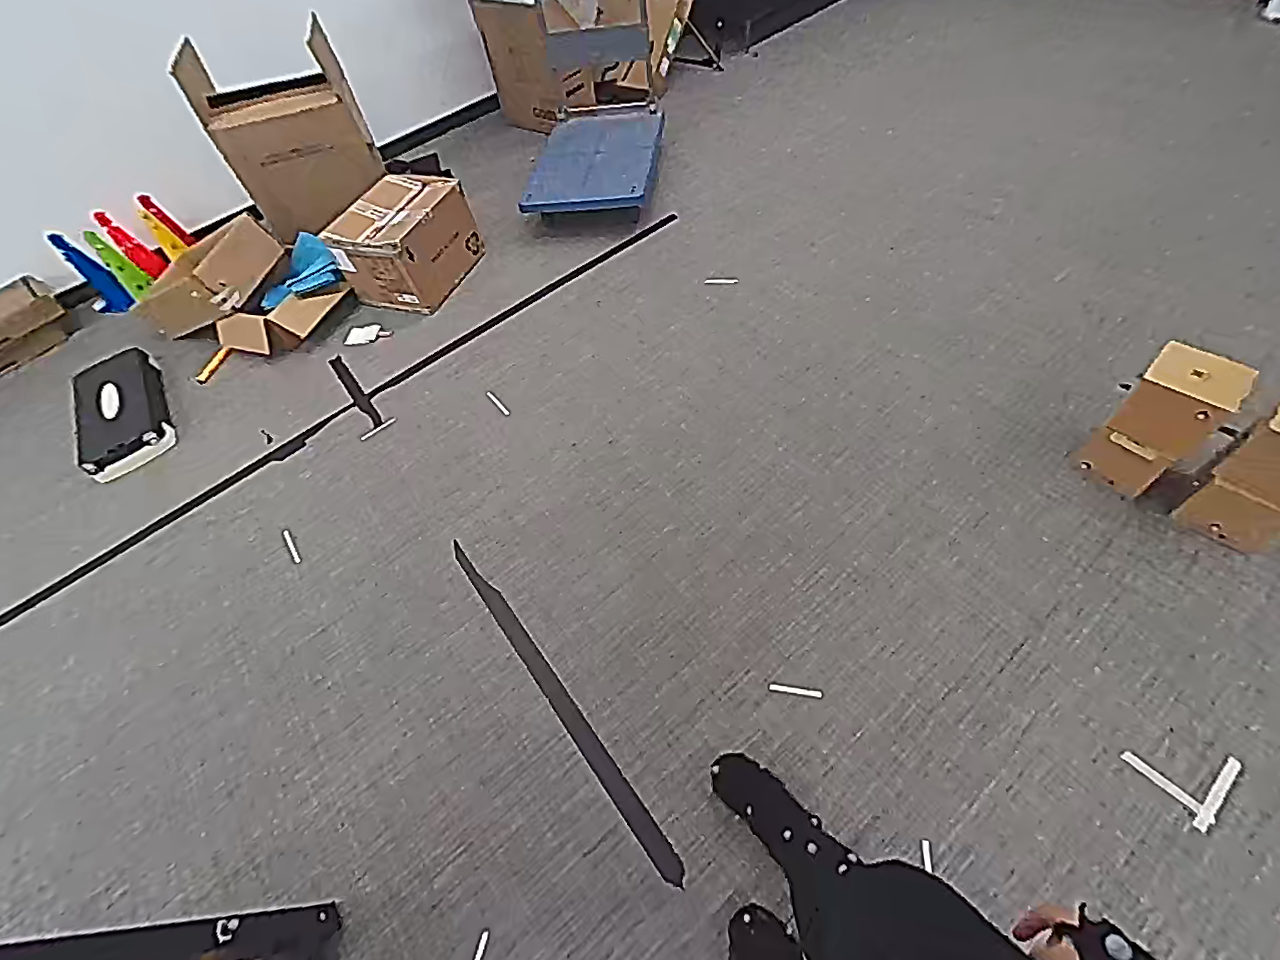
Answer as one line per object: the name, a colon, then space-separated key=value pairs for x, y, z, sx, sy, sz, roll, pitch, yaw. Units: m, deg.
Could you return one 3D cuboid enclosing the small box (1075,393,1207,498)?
small box: x=1.289 y=-0.086 z=1.410 sx=0.179 sy=0.176 sz=0.168 roll=-35 pitch=56 yaw=-15
